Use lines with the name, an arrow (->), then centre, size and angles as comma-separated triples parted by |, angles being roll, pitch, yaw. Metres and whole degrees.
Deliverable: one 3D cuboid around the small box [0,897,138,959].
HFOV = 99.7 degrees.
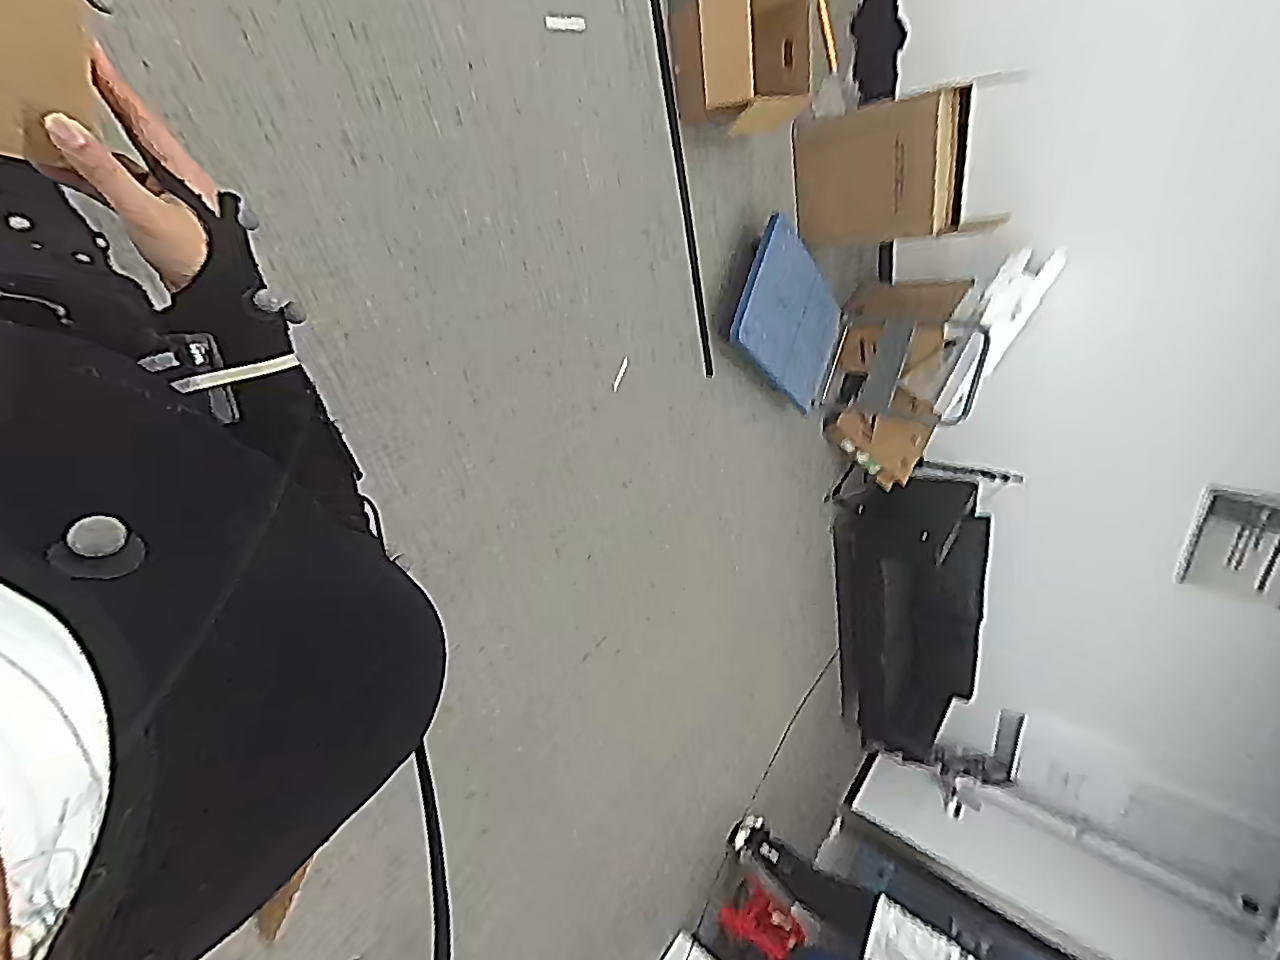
small box -> -0.726, 0.661, 0.640 | 0.179, 0.176, 0.168 | -28, 119, -37
